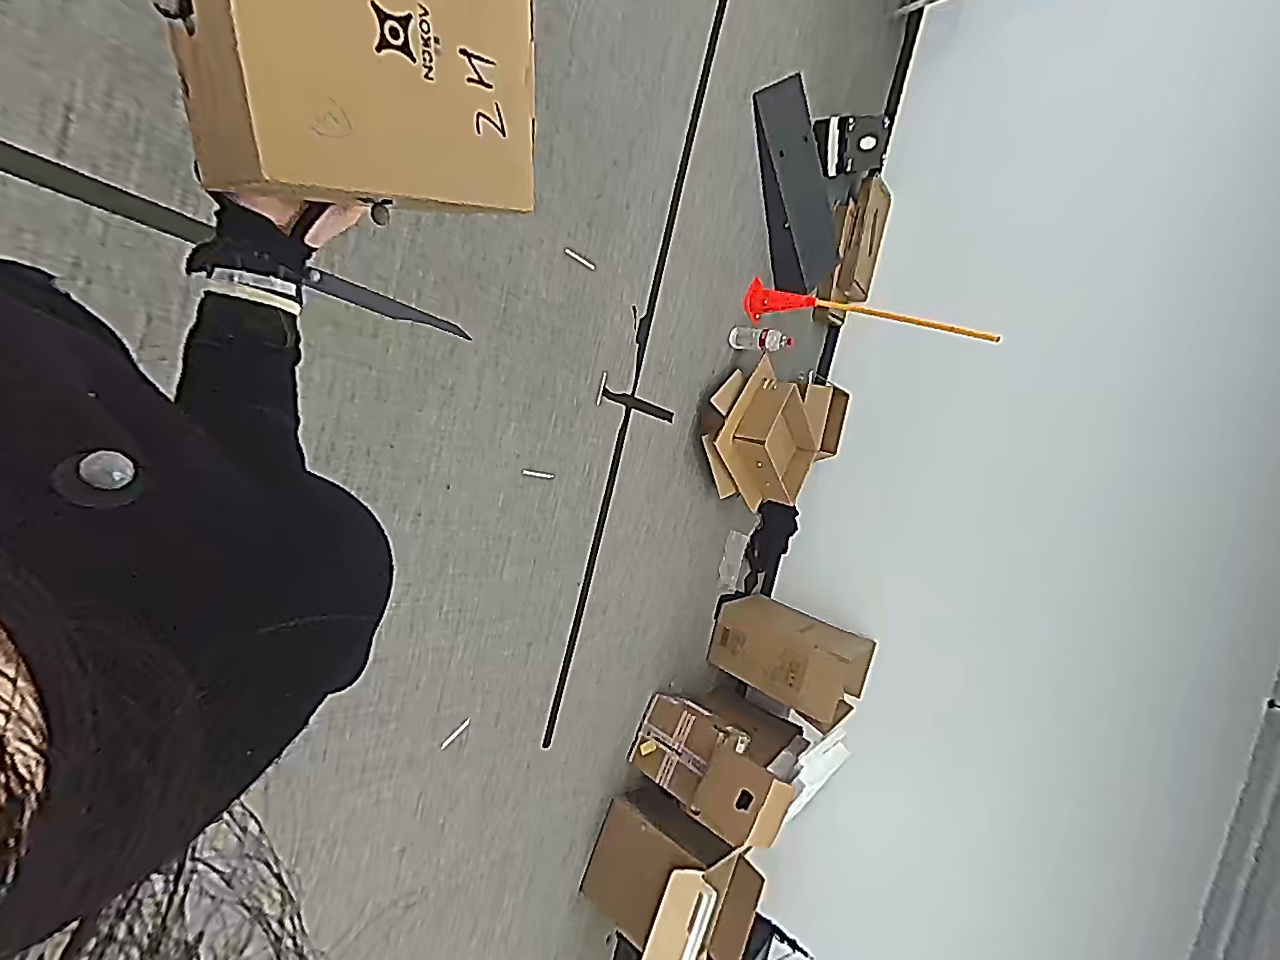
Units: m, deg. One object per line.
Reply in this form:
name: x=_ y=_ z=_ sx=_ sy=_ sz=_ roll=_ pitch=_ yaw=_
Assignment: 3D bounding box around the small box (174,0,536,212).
small box: x=-0.191 y=-0.280 z=0.366 sx=0.179 sy=0.176 sz=0.168 roll=-19 pitch=123 yaw=-42
